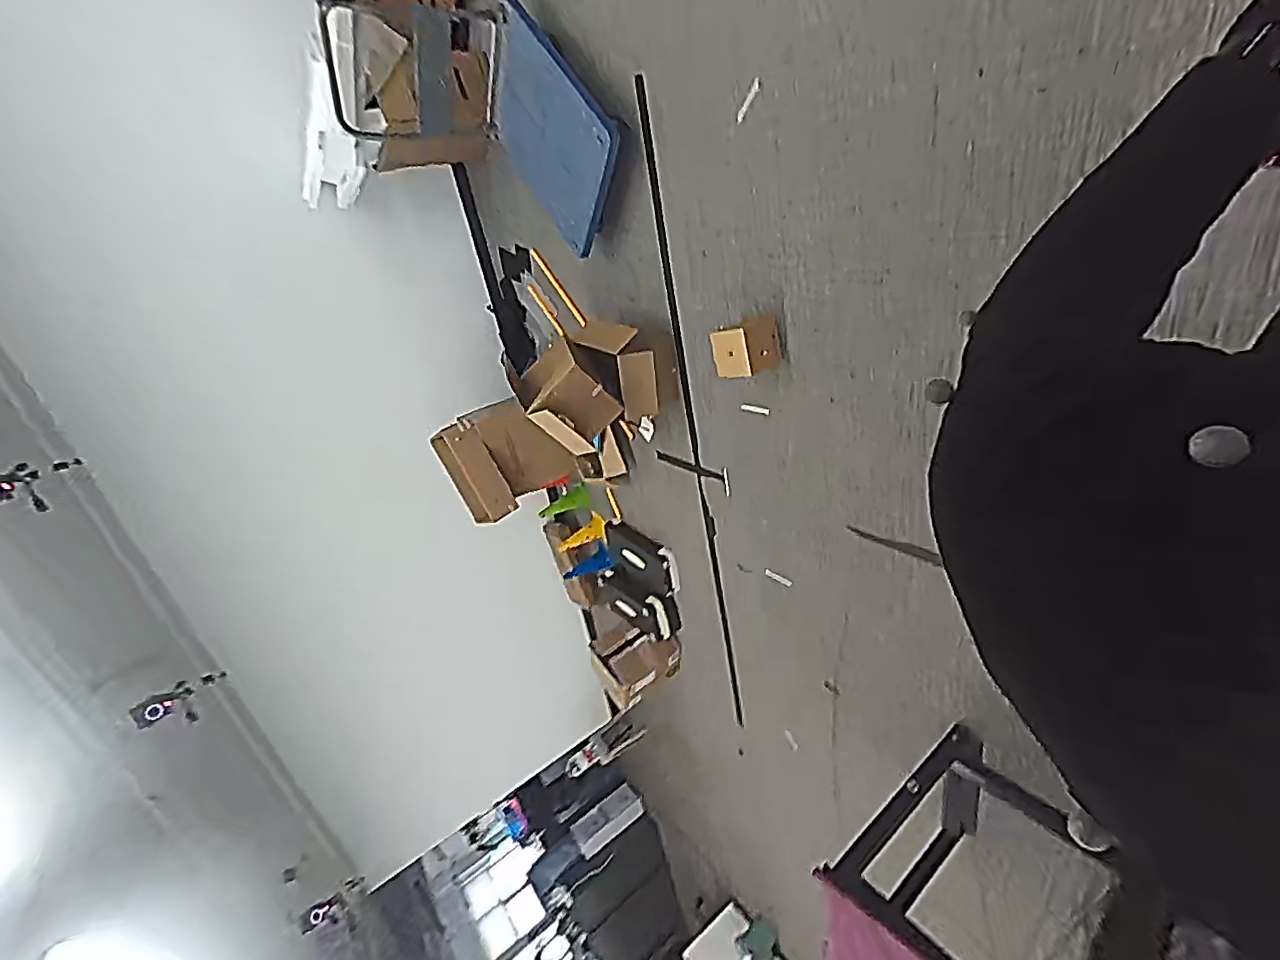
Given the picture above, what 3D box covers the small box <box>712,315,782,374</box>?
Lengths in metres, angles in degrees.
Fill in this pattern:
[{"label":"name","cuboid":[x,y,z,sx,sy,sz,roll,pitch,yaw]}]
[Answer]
[{"label":"small box","cuboid":[0.388,-0.484,1.932,0.179,0.176,0.168,15,125,56]}]
